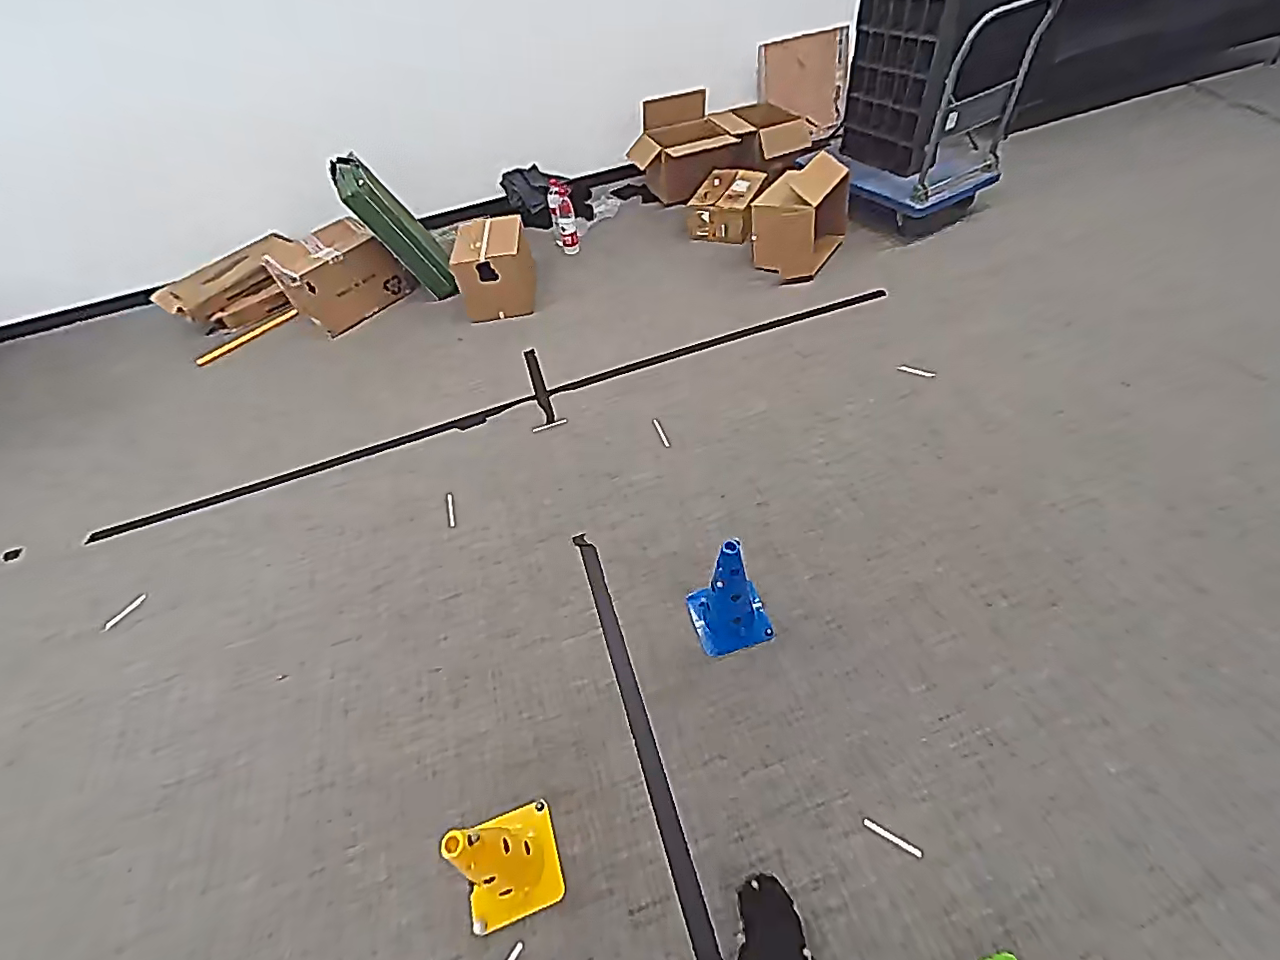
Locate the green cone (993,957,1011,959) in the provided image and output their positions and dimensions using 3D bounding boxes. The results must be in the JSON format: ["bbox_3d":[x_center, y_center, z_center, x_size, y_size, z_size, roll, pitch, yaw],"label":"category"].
[{"bbox_3d":[0.611,0.869,0.805,0.202,0.368,0.200,-17,49,-7],"label":"green cone"}]

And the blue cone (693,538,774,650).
[{"bbox_3d":[0.239,0.270,1.396,0.192,0.380,0.193,-14,49,-4],"label":"blue cone"}]
